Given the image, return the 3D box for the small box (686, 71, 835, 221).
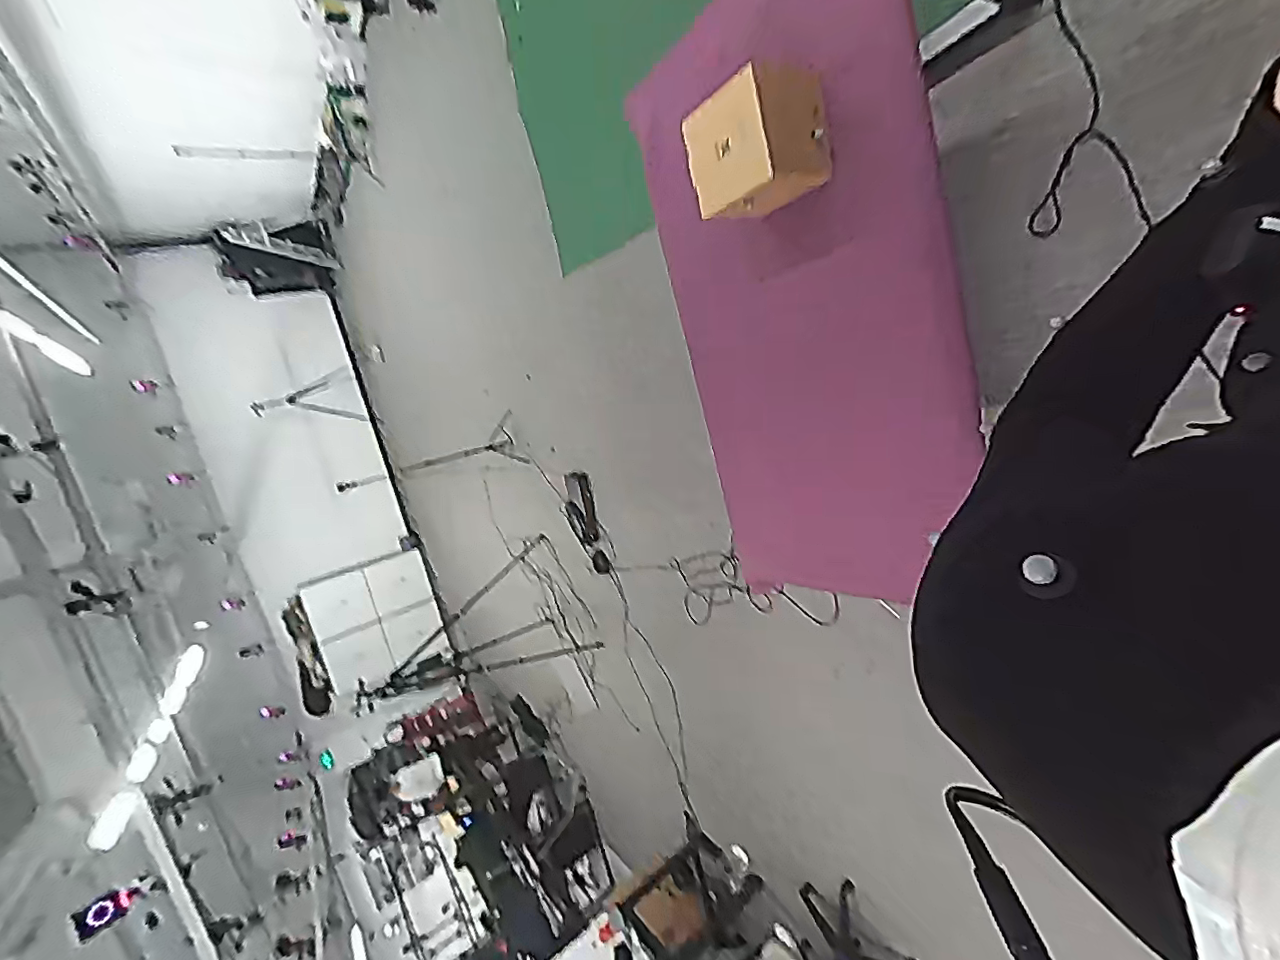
[{"bbox_3d":[0.211,-0.575,0.953,0.179,0.176,0.168,2,109,57],"label":"small box"}]
